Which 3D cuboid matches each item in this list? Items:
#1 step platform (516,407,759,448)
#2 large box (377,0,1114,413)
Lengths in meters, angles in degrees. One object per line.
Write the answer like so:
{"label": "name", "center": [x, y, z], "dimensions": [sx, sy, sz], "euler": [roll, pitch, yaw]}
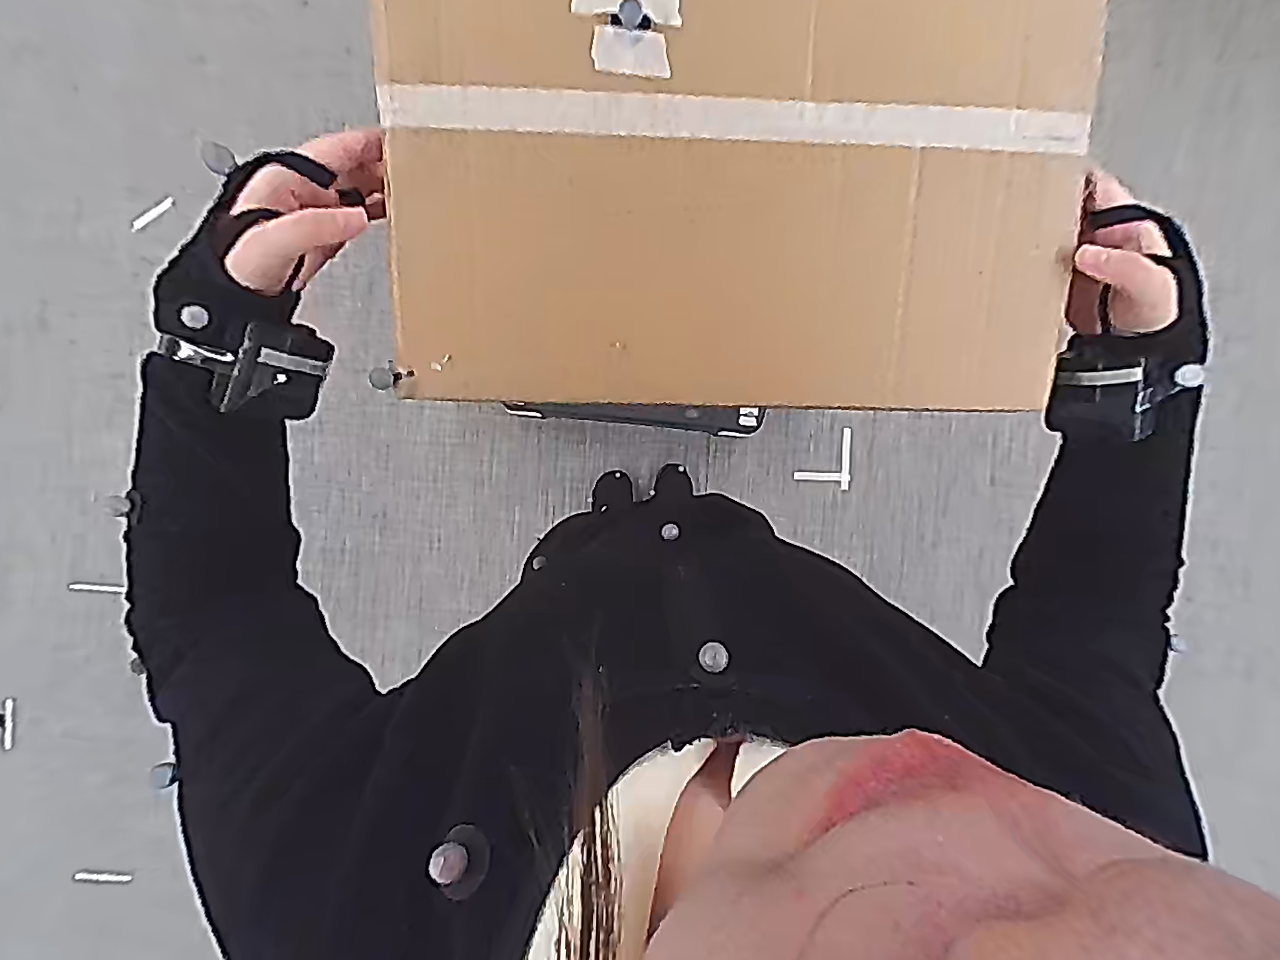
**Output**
{"label": "step platform", "center": [-0.028, -0.276, 1.383], "dimensions": [0.684, 0.204, 0.286], "euler": [10, 92, -1]}
{"label": "large box", "center": [0.054, -0.222, 0.447], "dimensions": [0.408, 0.320, 0.320], "euler": [1, 99, -2]}
